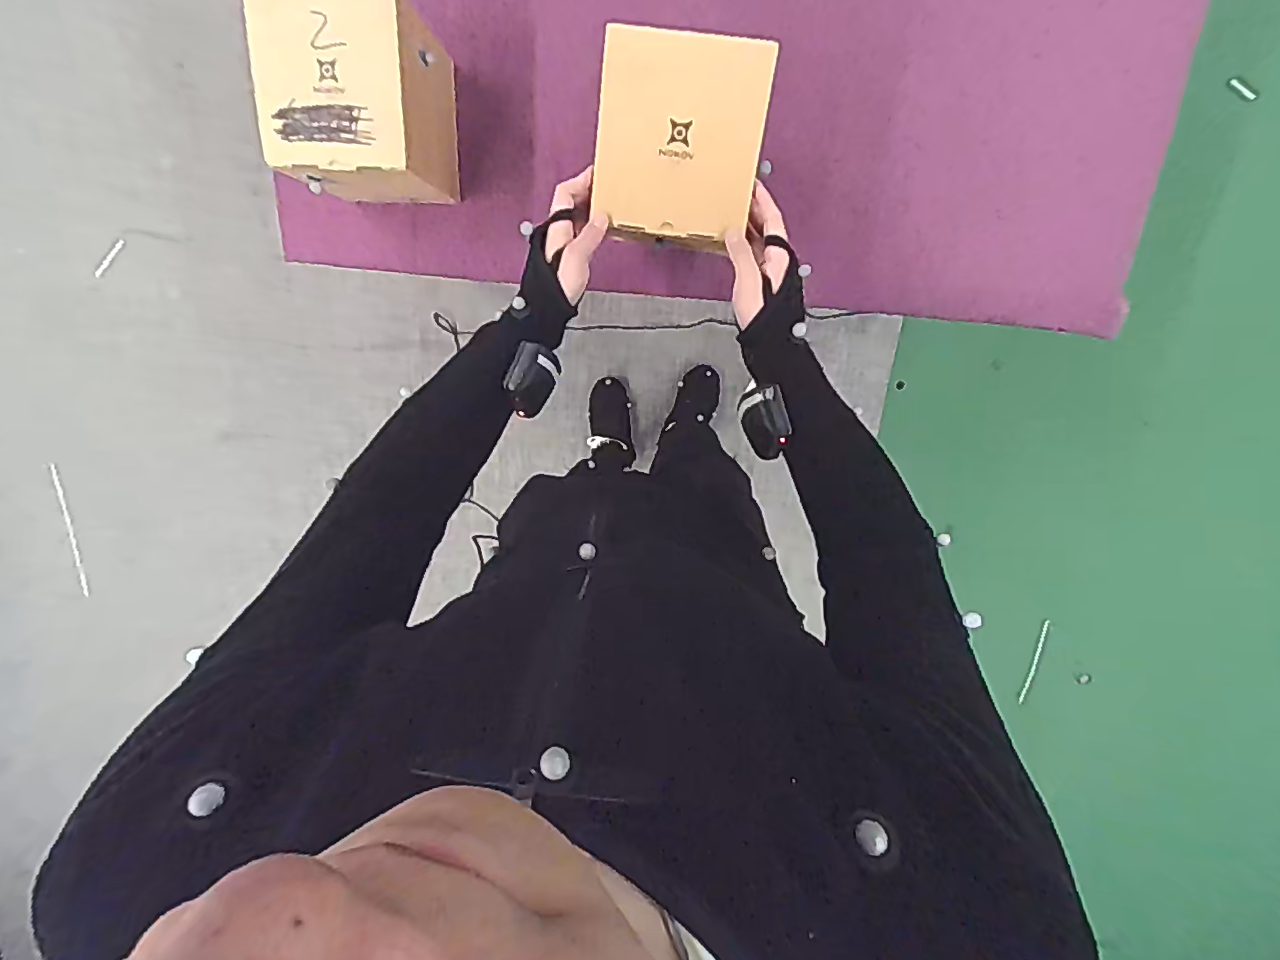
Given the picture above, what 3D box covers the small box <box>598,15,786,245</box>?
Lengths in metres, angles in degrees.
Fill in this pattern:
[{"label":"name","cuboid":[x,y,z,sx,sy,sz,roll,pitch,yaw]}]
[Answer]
[{"label":"small box","cuboid":[0.052,-0.372,0.608,0.168,0.176,0.179,8,112,2]}]
